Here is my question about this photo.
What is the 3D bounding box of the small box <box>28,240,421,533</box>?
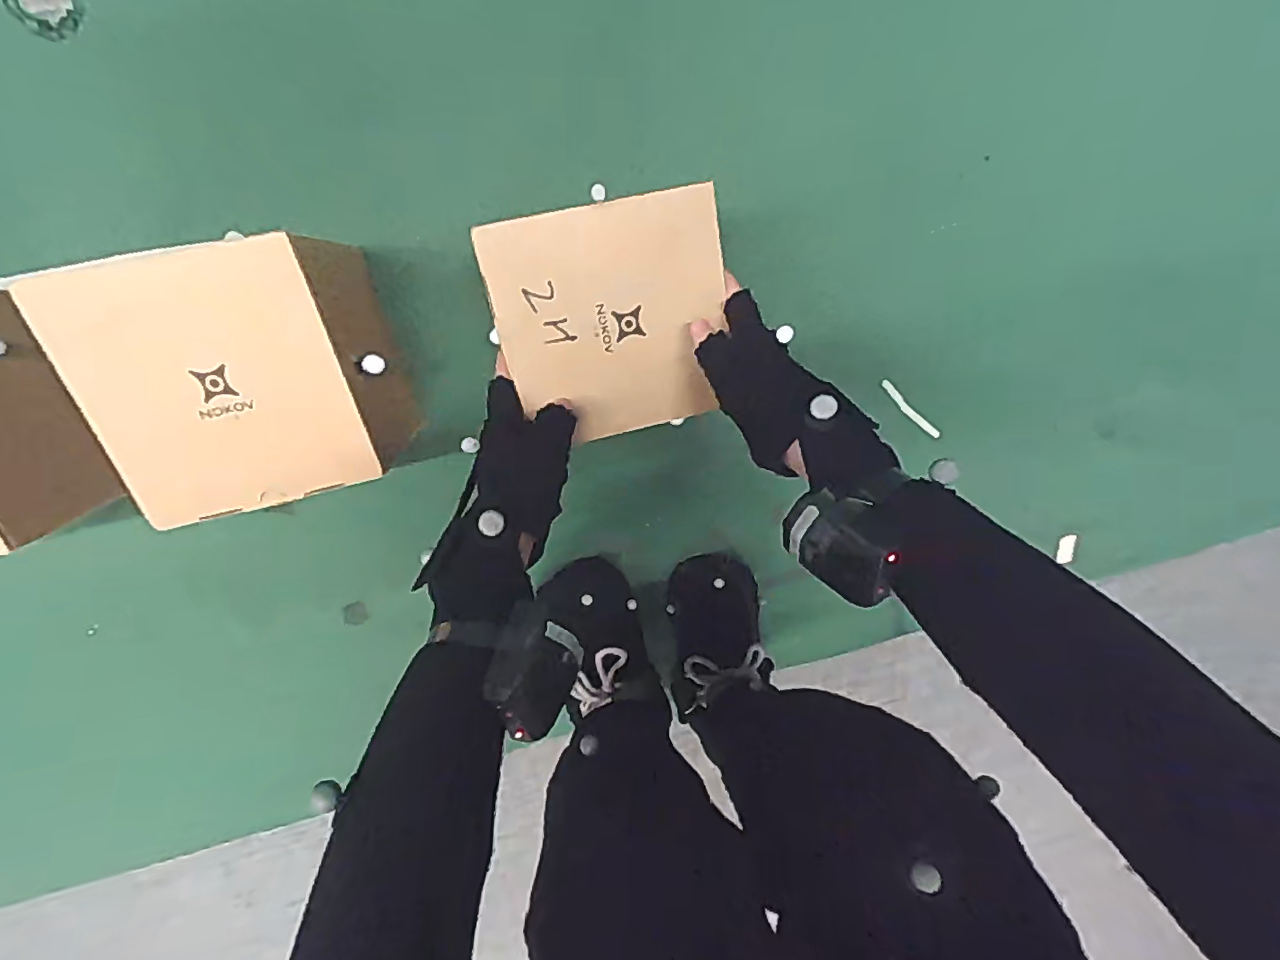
[{"bbox_3d":[-0.299,-0.085,0.444,0.168,0.176,0.179,-14,113,-7],"label":"small box"}]

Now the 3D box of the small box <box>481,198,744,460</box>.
[{"bbox_3d":[-0.026,-0.136,0.478,0.179,0.176,0.168,-14,111,-5],"label":"small box"}]
